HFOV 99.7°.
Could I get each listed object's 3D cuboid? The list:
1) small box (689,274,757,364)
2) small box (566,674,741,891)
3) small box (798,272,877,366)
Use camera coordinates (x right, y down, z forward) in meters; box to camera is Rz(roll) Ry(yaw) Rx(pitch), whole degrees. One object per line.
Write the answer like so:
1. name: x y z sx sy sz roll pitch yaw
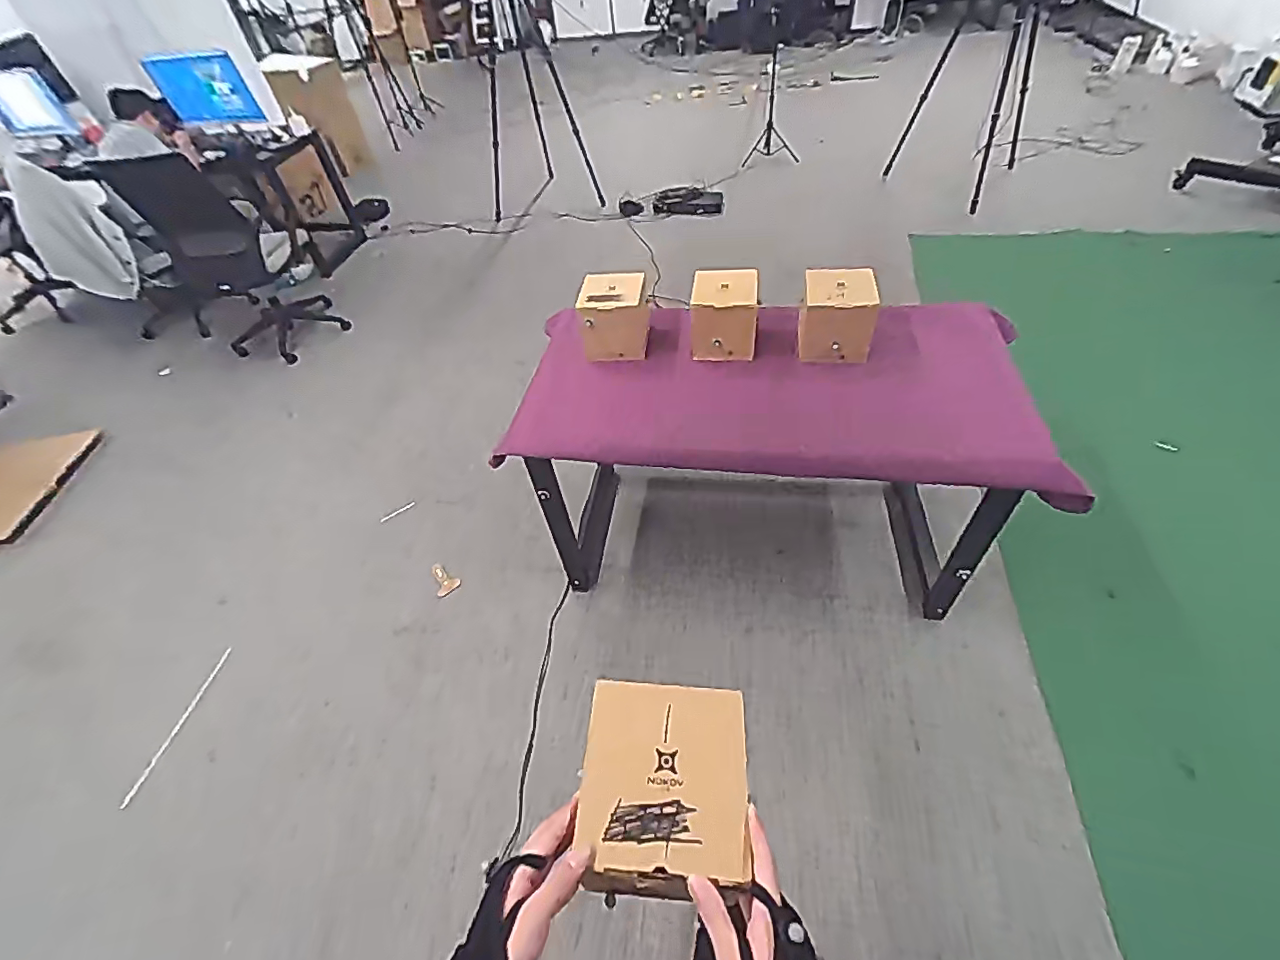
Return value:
1. small box: 0.224 -0.431 1.448 0.168 0.176 0.179 2 50 10
2. small box: 0.021 0.340 0.606 0.168 0.176 0.179 2 47 3
3. small box: 0.498 -0.414 1.387 0.168 0.176 0.179 3 49 12
